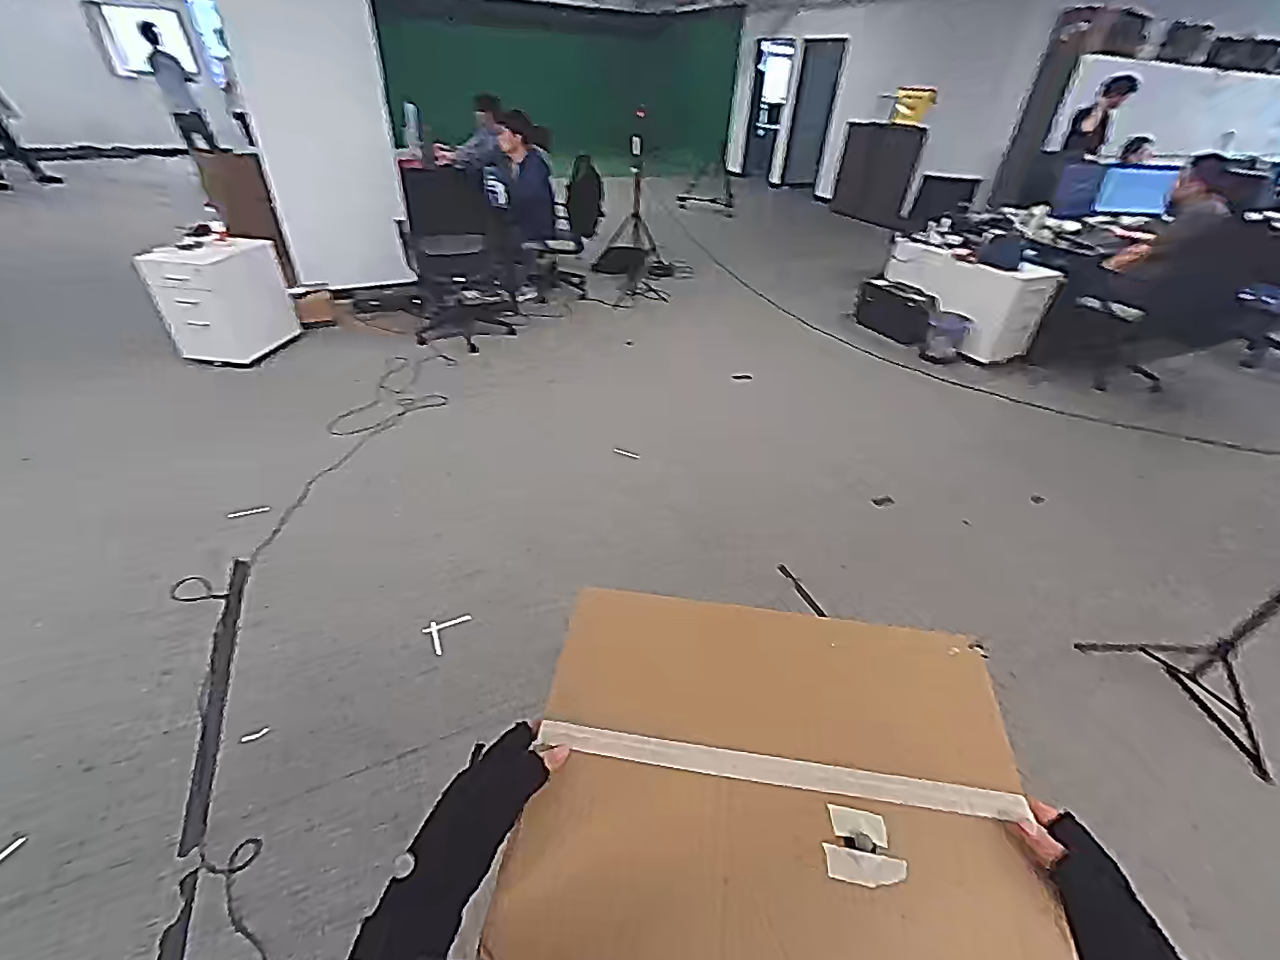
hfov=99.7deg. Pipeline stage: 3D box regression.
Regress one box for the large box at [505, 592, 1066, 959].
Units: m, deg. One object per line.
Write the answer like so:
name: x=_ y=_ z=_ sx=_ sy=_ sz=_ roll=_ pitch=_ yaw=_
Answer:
large box: x=0.119 y=0.354 z=0.574 sx=0.408 sy=0.320 sz=0.320 roll=6 pitch=46 yaw=8
